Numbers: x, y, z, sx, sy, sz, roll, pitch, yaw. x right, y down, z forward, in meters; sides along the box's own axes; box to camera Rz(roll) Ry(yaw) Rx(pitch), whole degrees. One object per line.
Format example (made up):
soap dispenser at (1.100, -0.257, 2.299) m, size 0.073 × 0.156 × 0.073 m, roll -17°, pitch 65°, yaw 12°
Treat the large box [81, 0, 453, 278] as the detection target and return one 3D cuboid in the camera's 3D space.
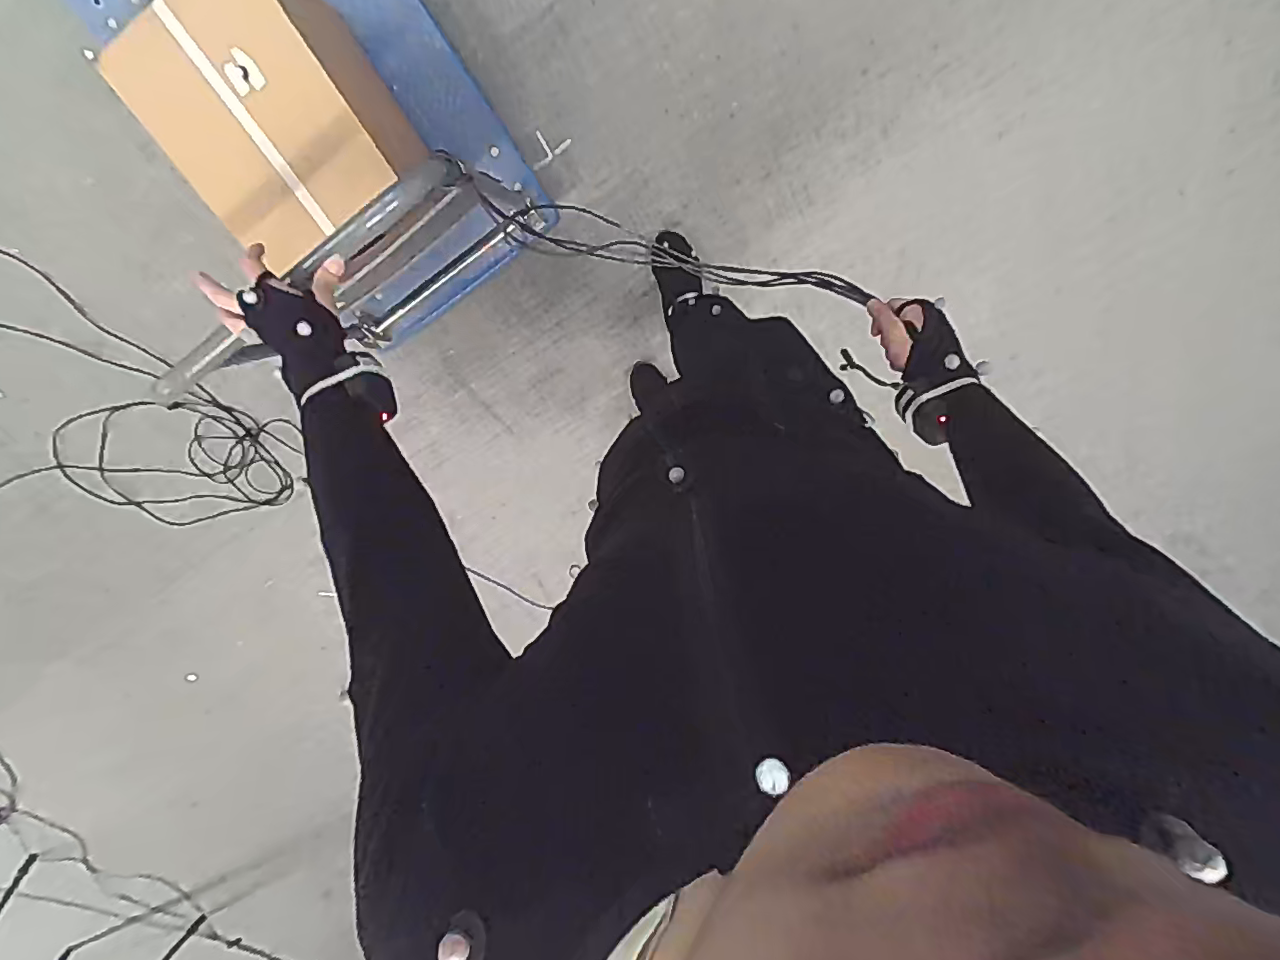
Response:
large box at (-0.631, -0.646, 1.005) m, size 0.320 × 0.320 × 0.408 m, roll -28°, pitch 112°, yaw 12°
